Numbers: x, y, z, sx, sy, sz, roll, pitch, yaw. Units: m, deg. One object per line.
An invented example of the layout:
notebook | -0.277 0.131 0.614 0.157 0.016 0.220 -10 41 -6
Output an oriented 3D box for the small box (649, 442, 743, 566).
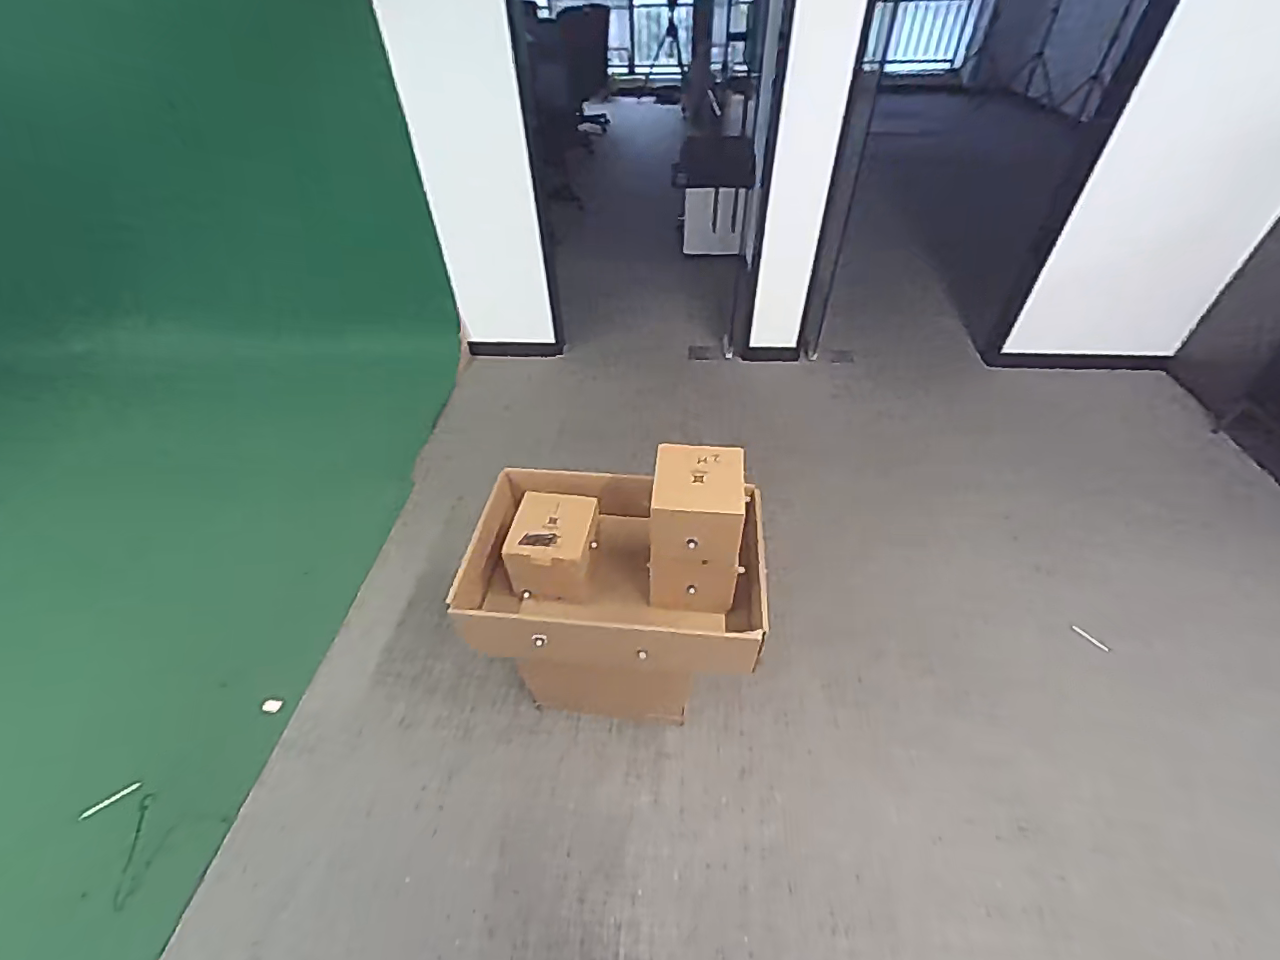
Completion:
small box | 0.110 0.048 1.050 0.168 0.176 0.179 4 45 6
